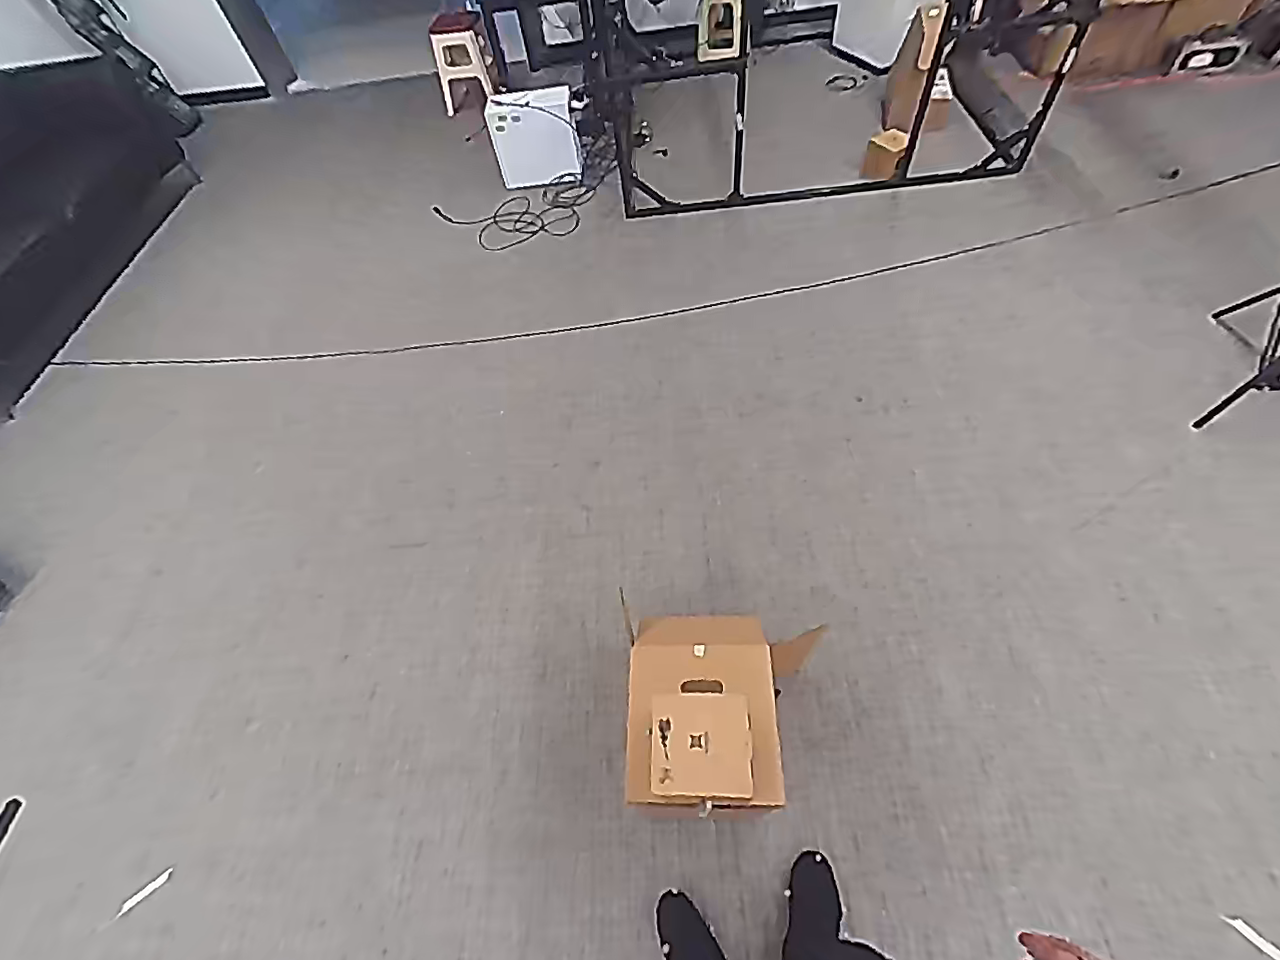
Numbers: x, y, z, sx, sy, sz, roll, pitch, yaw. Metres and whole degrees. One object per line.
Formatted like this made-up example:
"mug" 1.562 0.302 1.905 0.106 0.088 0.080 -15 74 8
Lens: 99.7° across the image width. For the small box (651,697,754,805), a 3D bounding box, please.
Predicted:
"small box" 0.116 0.515 1.024 0.179 0.176 0.168 -1 58 6
